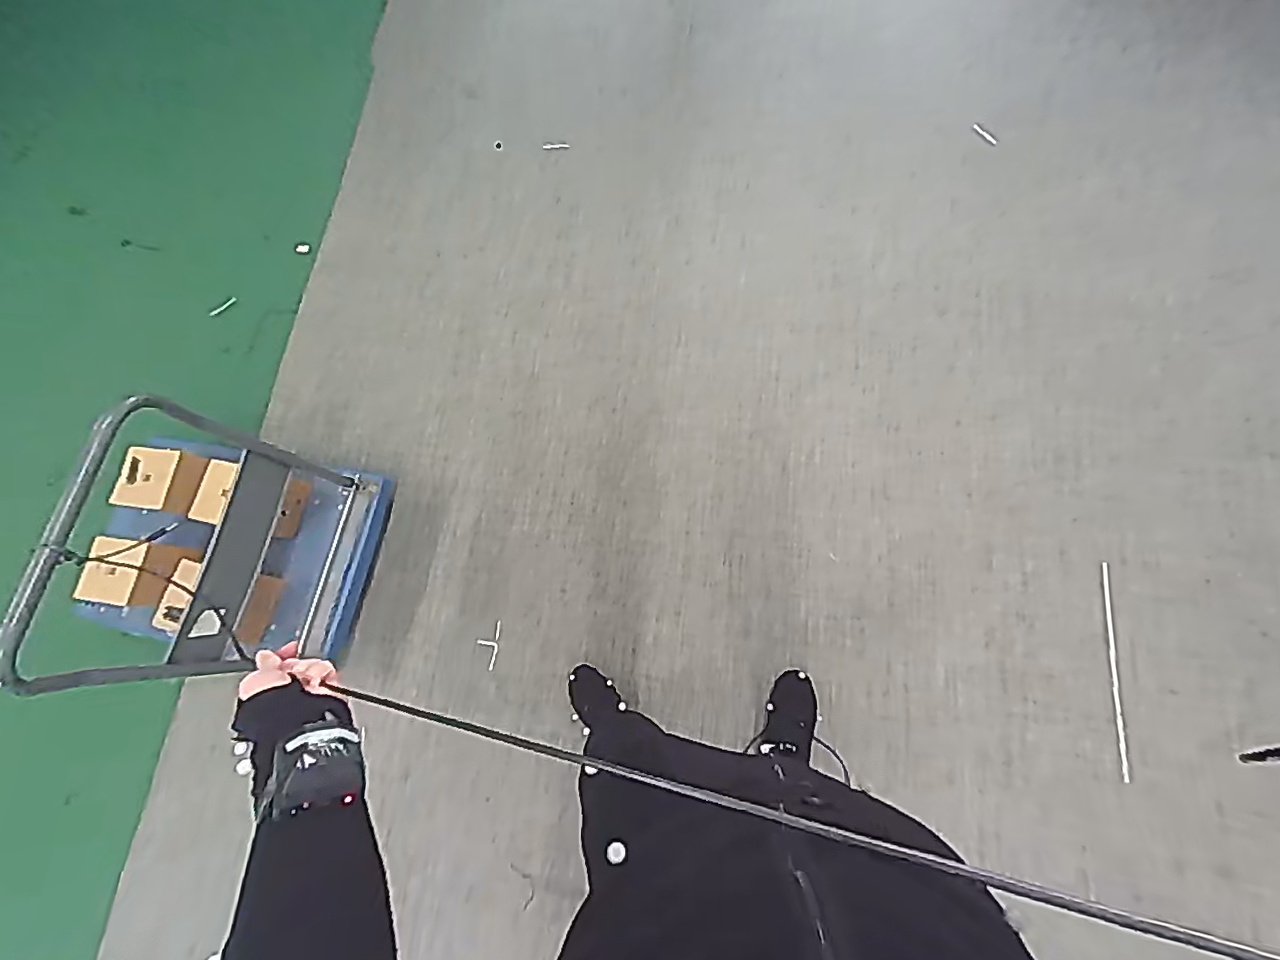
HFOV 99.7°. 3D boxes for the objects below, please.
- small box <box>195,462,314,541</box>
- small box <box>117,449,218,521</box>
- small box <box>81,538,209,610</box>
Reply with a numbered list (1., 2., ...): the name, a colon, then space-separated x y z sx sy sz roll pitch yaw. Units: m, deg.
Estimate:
1. small box: -1.054 0.064 1.490 0.179 0.176 0.168 10 77 12
2. small box: -1.314 0.021 1.548 0.179 0.176 0.168 6 77 11
3. small box: -1.349 0.263 1.487 0.179 0.176 0.168 6 75 12
